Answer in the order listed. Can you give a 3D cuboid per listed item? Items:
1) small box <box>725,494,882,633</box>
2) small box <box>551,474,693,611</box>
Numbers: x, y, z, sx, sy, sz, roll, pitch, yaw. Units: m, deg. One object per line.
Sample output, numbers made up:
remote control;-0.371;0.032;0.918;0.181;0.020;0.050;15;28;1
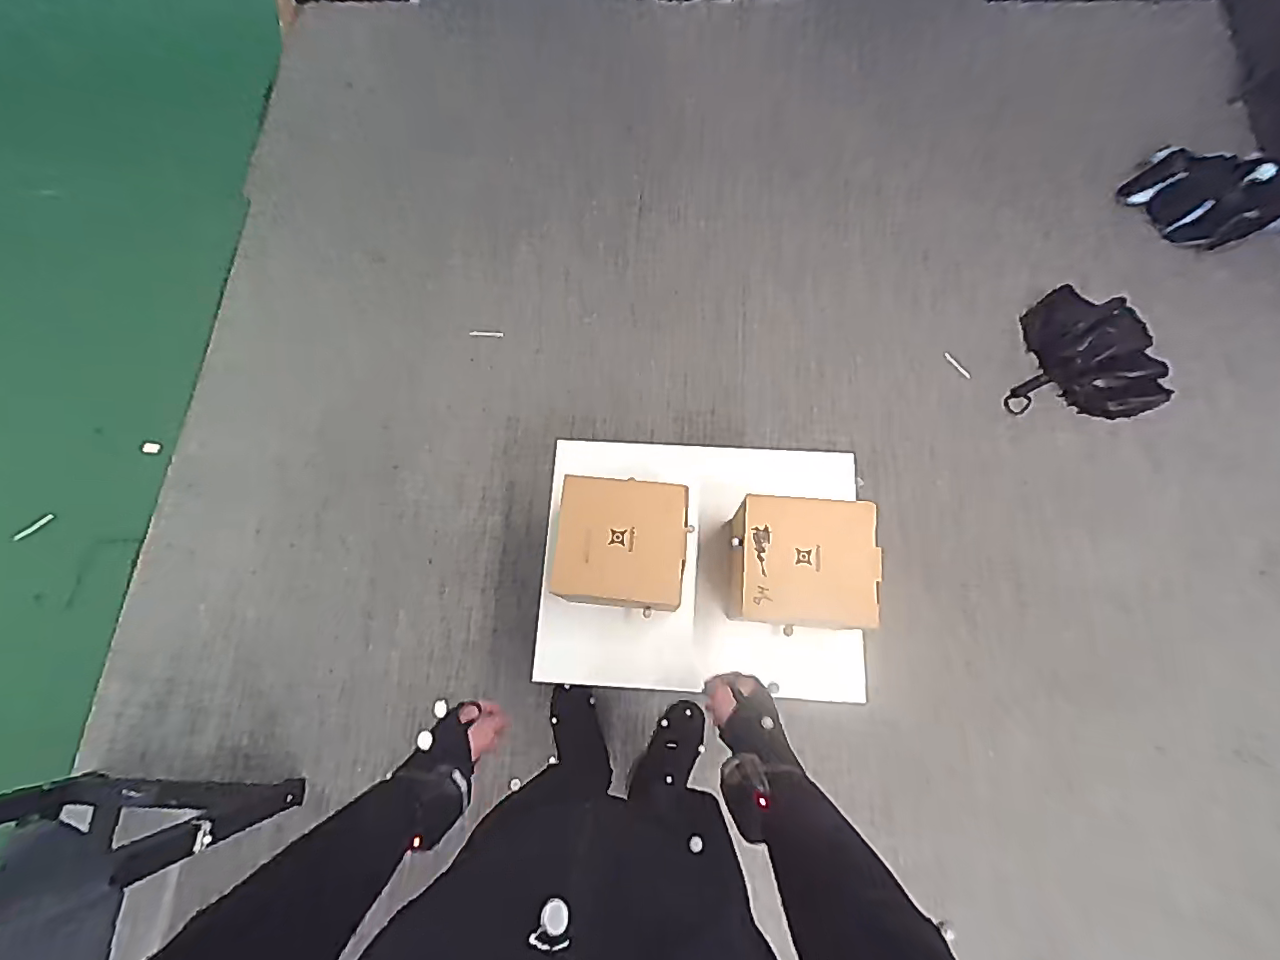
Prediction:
small box;0.227;0.126;0.780;0.179;0.176;0.168;5;74;2
small box;-0.021;0.099;0.792;0.179;0.176;0.168;5;73;2
